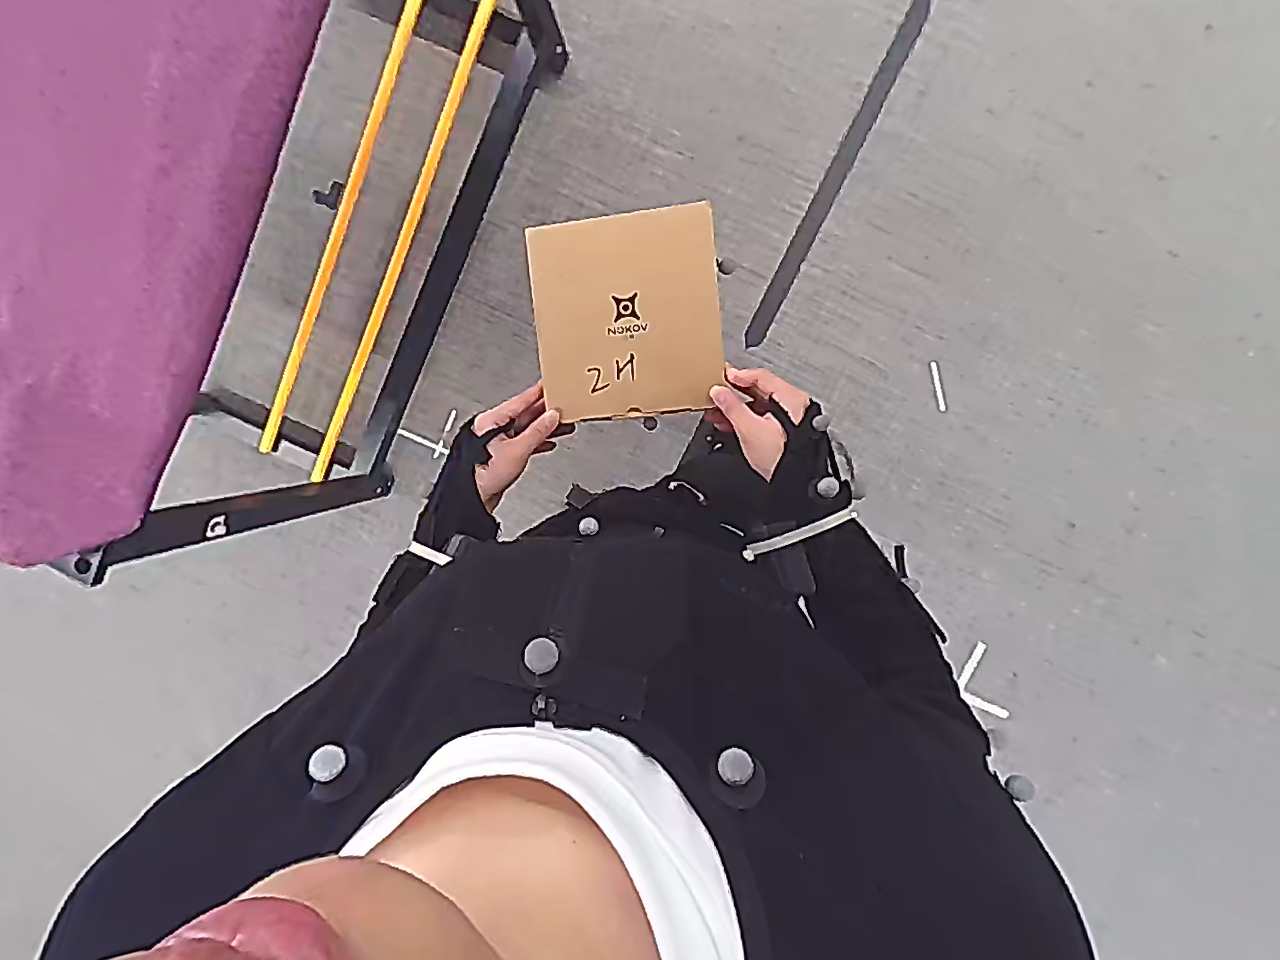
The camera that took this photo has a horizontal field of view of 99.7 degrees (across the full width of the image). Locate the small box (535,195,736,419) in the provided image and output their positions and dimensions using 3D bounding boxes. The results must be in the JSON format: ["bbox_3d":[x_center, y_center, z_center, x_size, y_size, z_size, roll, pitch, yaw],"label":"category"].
[{"bbox_3d":[0.005,-0.155,0.543,0.168,0.176,0.179,-4,98,9],"label":"small box"}]
